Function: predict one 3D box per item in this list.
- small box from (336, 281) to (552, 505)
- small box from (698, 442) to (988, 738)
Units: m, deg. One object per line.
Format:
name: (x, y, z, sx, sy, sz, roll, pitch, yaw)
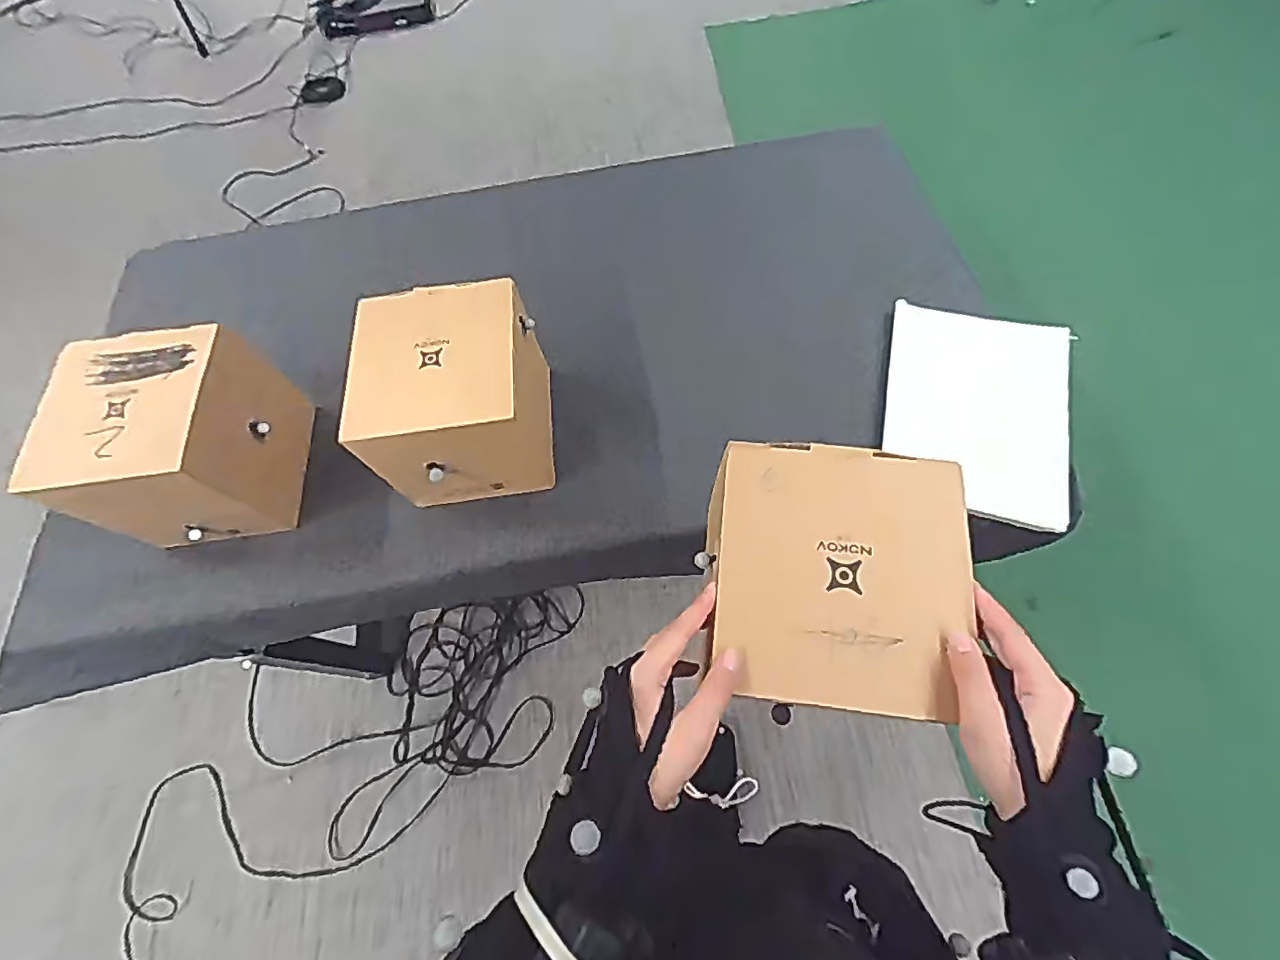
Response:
small box: (-0.195, -0.082, 0.591, 0.168, 0.176, 0.179, -8, 64, 2)
small box: (0.137, 0.089, 0.425, 0.168, 0.176, 0.179, 6, 71, 5)
